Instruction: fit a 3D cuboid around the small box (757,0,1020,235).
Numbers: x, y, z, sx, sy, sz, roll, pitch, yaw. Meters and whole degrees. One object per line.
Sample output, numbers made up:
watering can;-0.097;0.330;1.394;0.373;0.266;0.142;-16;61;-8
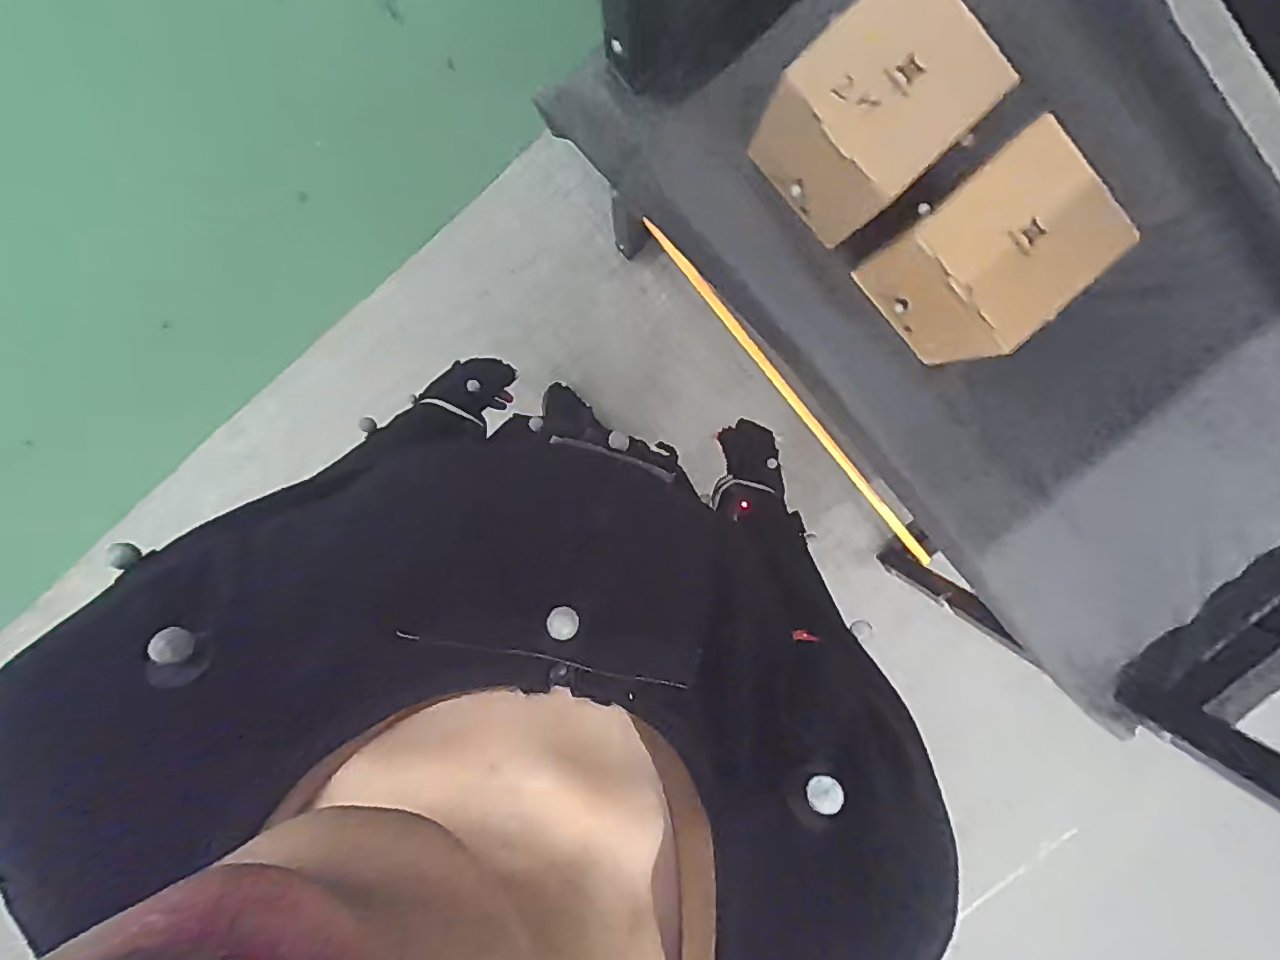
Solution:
small box;0.259;-0.418;0.610;0.179;0.176;0.168;-43;97;5

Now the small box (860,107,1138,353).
small box;0.400;-0.273;0.637;0.179;0.176;0.168;-43;96;4
